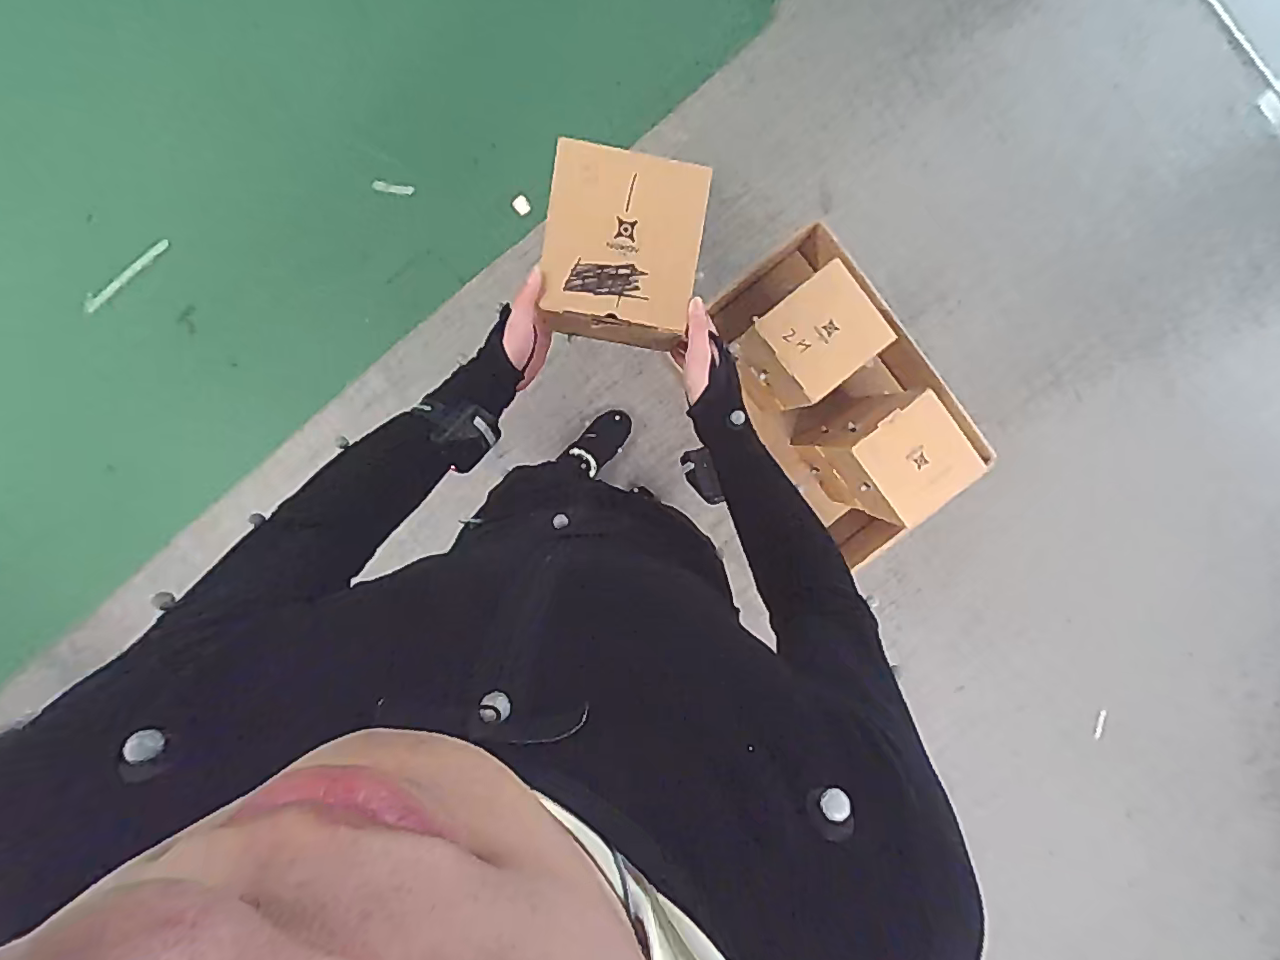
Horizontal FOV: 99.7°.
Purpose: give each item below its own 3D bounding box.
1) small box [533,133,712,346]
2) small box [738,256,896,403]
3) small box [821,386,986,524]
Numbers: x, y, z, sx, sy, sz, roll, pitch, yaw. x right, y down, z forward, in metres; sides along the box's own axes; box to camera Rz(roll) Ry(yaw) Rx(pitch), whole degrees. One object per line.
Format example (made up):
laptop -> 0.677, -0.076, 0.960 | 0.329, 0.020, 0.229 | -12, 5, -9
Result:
small box -> -0.024, -0.264, 0.641 | 0.168, 0.176, 0.179 | 8, 96, -6
small box -> 0.298, -0.252, 0.949 | 0.179, 0.176, 0.168 | -38, 95, 2
small box -> 0.459, -0.047, 0.974 | 0.168, 0.176, 0.179 | -37, 96, 3
